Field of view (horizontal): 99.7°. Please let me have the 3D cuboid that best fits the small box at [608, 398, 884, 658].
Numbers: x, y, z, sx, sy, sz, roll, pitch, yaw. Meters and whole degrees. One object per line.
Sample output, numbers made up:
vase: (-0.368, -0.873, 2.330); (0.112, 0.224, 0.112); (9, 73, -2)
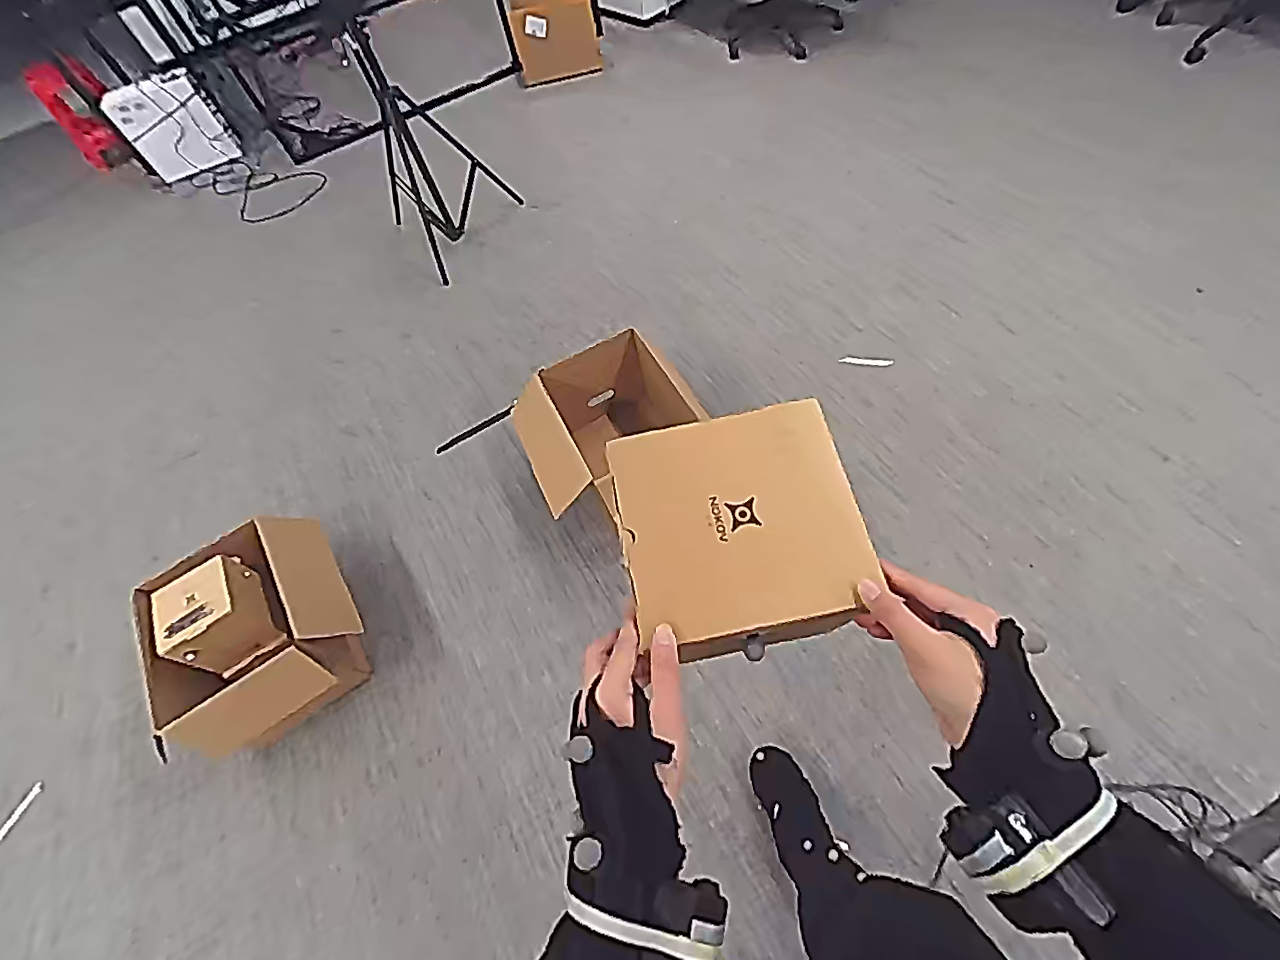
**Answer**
small box: (0.078, 0.053, 0.479); (0.179, 0.176, 0.168); (-12, 66, 0)
